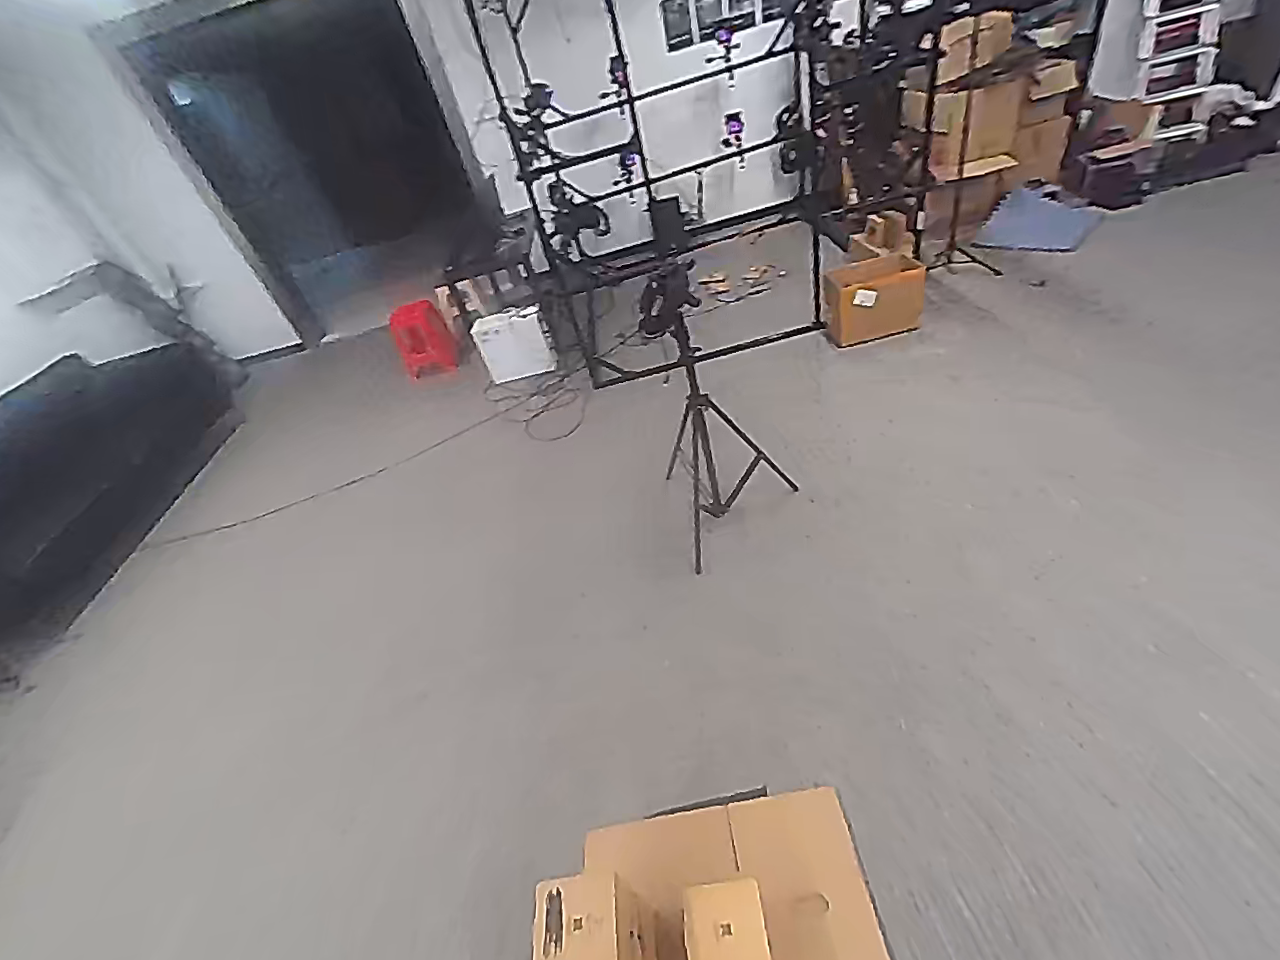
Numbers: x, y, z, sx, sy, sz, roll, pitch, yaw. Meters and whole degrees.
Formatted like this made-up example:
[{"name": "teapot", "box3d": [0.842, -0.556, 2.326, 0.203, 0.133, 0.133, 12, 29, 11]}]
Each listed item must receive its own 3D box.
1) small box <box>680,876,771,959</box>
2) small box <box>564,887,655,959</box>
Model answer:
[{"name": "small box", "box3d": [0.194, 1.011, 1.209, 0.179, 0.176, 0.168, -12, 40, 6]}, {"name": "small box", "box3d": [-0.065, 1.064, 1.239, 0.179, 0.176, 0.168, -14, 39, 6]}]
